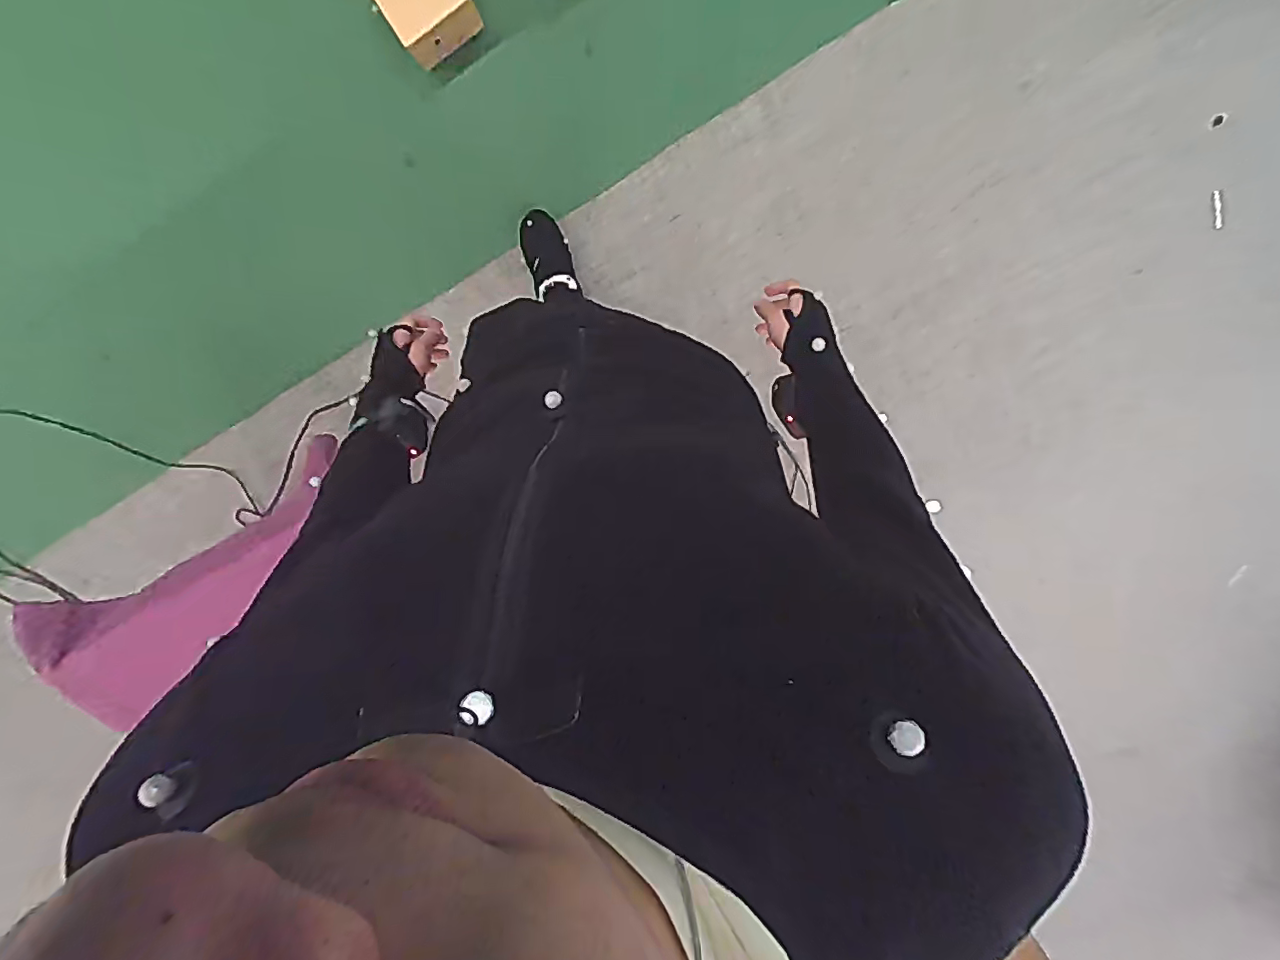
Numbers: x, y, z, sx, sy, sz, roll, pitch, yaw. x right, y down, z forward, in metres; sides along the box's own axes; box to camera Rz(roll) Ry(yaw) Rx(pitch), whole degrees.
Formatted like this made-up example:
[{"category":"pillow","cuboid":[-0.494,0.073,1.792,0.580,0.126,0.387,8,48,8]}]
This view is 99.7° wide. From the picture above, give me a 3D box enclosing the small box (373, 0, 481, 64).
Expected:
[{"category":"small box","cuboid":[-0.458,-1.012,1.126,0.168,0.176,0.179,-31,111,8]}]
